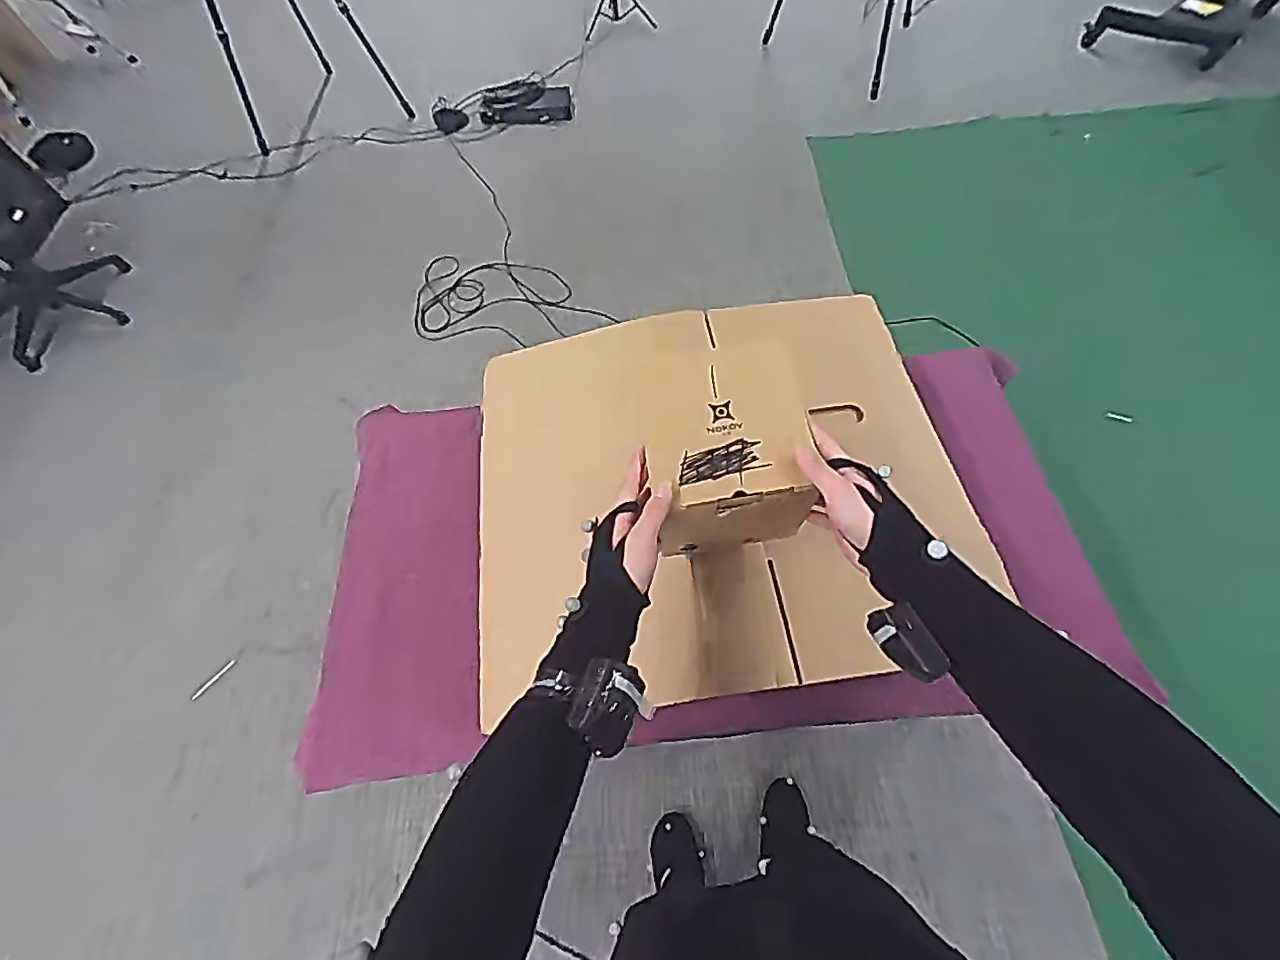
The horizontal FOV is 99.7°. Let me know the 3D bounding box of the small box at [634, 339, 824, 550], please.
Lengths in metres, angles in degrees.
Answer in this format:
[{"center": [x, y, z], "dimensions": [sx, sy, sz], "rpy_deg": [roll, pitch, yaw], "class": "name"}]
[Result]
[{"center": [0.091, -0.028, 0.612], "dimensions": [0.168, 0.176, 0.179], "rpy_deg": [-9, 66, 1], "class": "small box"}]
